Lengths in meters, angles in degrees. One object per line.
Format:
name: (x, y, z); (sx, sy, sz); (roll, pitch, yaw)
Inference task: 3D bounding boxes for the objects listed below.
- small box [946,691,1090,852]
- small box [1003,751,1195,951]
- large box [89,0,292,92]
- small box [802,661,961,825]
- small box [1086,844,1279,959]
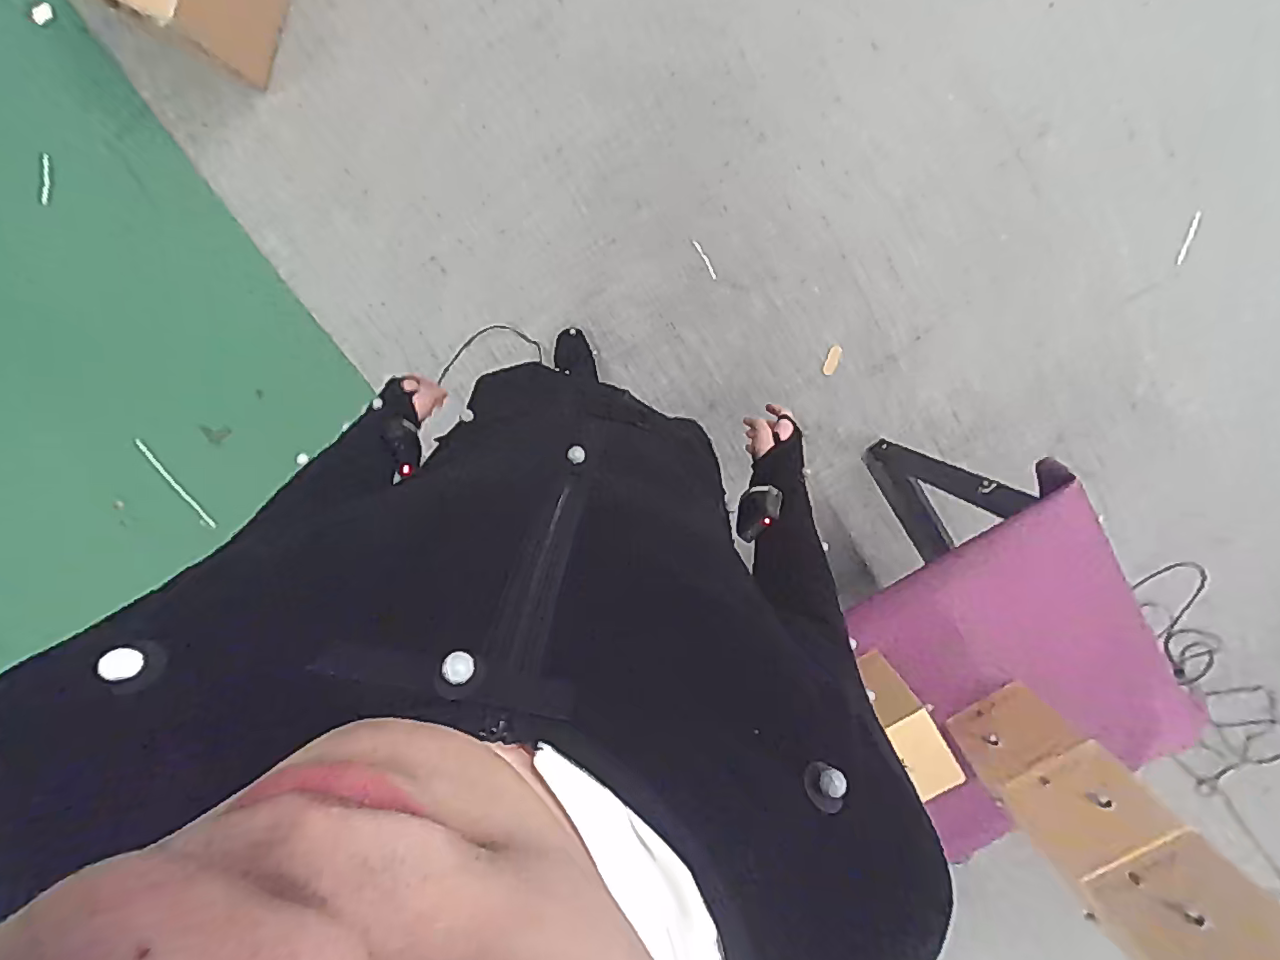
small box: (0.708, 0.520, 0.996); (0.168, 0.176, 0.179); (-33, 104, 7)
small box: (0.714, 0.557, 0.838); (0.168, 0.176, 0.179); (-33, 104, 6)
large box: (-0.982, -1.165, 1.153); (0.320, 0.320, 0.408); (23, 103, -7)
small box: (0.416, 0.451, 0.959); (0.168, 0.176, 0.179); (-32, 105, 6)
small box: (0.723, 0.604, 0.681); (0.168, 0.176, 0.179); (-34, 103, 7)
